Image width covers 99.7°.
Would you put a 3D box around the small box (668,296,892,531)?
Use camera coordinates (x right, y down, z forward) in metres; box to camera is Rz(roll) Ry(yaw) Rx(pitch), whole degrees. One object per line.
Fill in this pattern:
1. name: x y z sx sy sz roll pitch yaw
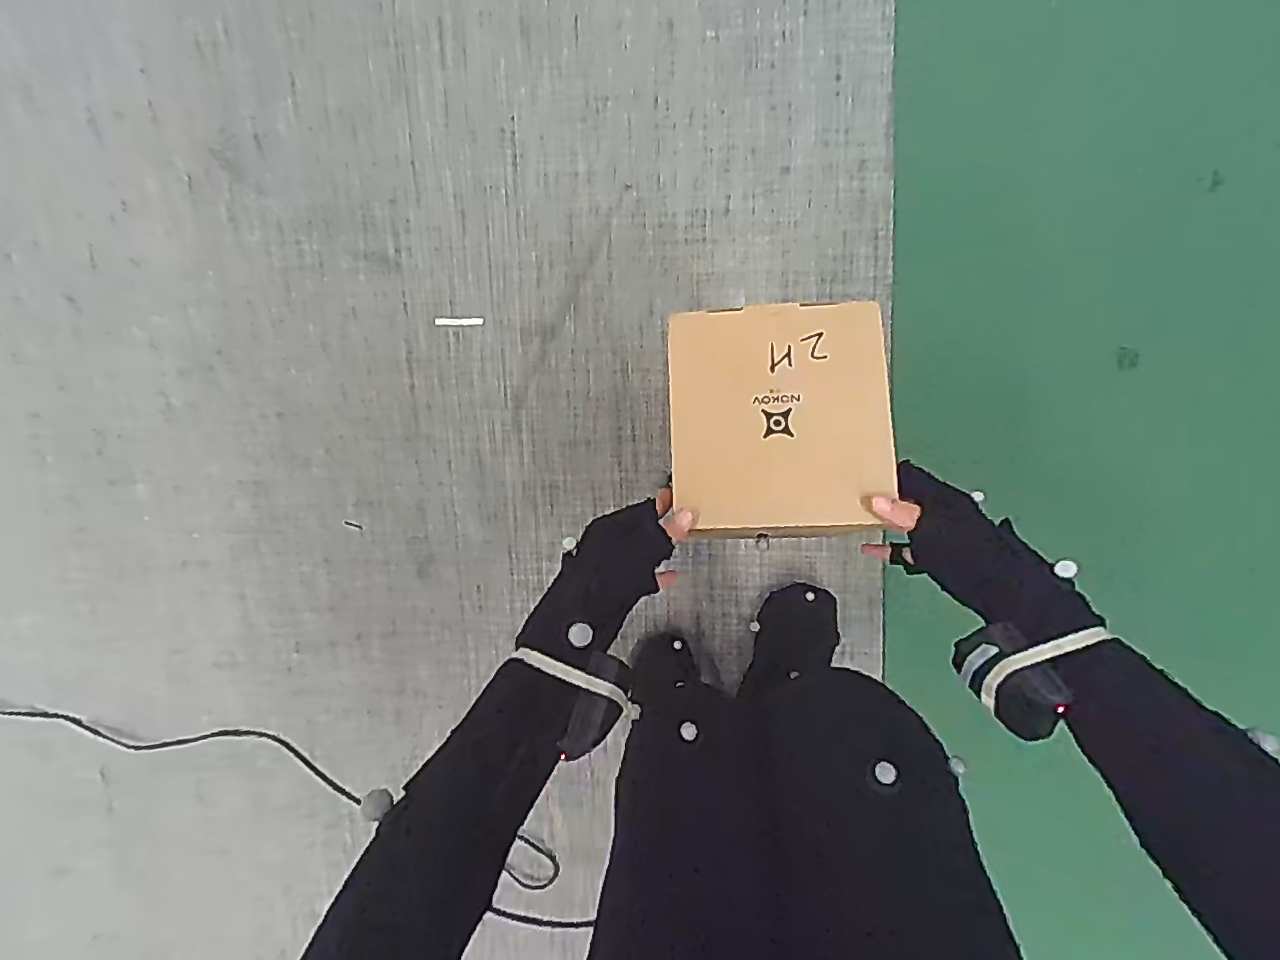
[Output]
1. small box: 0.111 -0.044 0.490 0.168 0.176 0.179 -1 81 4
